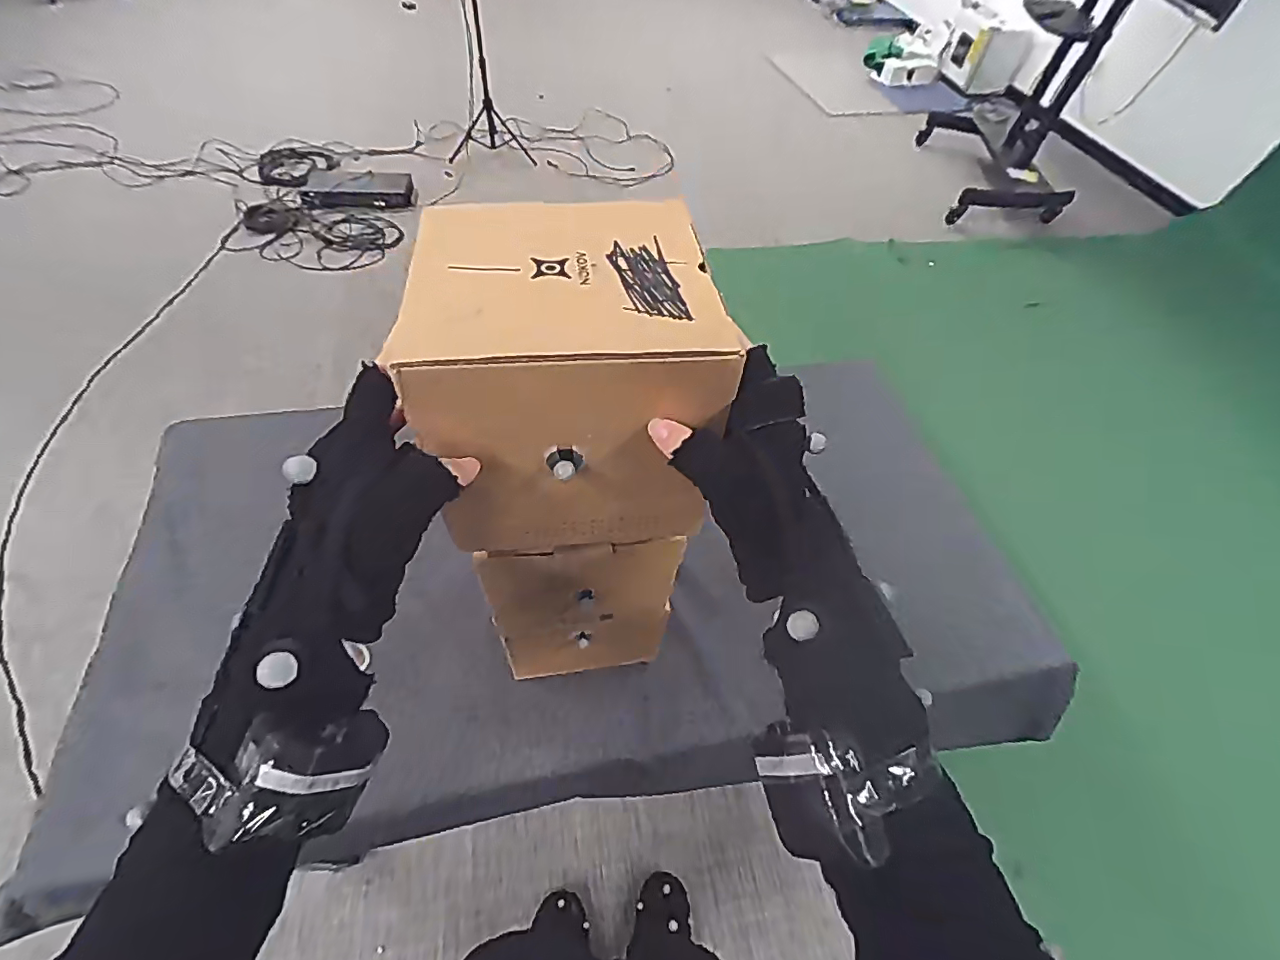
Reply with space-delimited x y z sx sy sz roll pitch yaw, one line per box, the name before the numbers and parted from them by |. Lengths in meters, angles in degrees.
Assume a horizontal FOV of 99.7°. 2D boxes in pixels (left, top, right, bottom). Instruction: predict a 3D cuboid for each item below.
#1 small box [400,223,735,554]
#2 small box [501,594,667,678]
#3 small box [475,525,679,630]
small box | -0.049 -0.062 0.389 0.179 0.176 0.168 -4 50 -7
small box | -0.074 0.132 0.669 0.179 0.176 0.168 -5 55 -10
small box | -0.064 0.037 0.536 0.168 0.176 0.179 -5 55 -9
